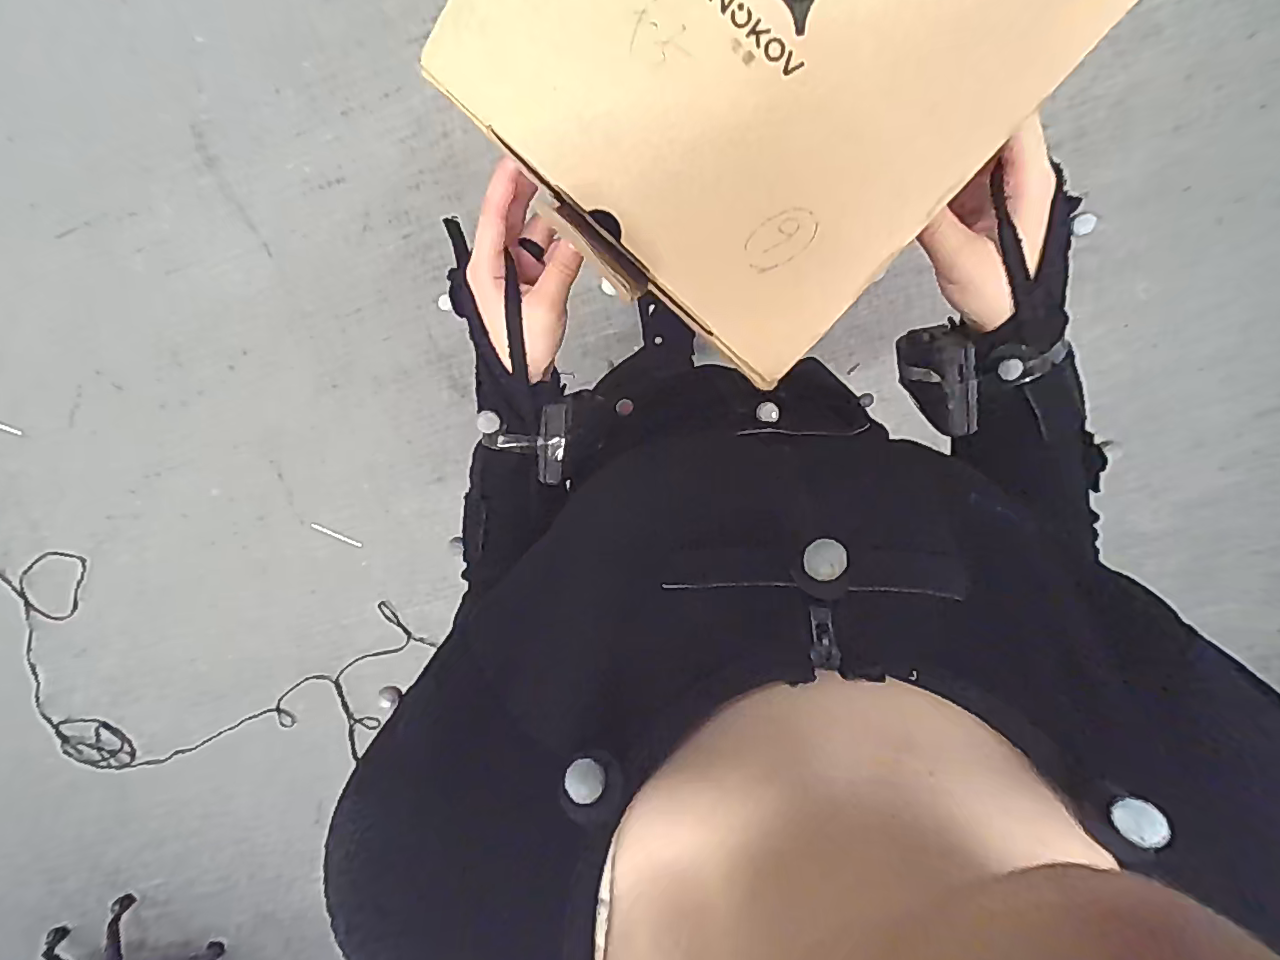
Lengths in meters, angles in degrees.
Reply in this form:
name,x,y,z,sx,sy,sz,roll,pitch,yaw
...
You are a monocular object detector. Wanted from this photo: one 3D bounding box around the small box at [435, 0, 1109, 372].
name,x,y,z,sx,sy,sz,roll,pitch,yaw
small box,0.049,-0.174,0.257,0.168,0.176,0.179,40,106,-6
